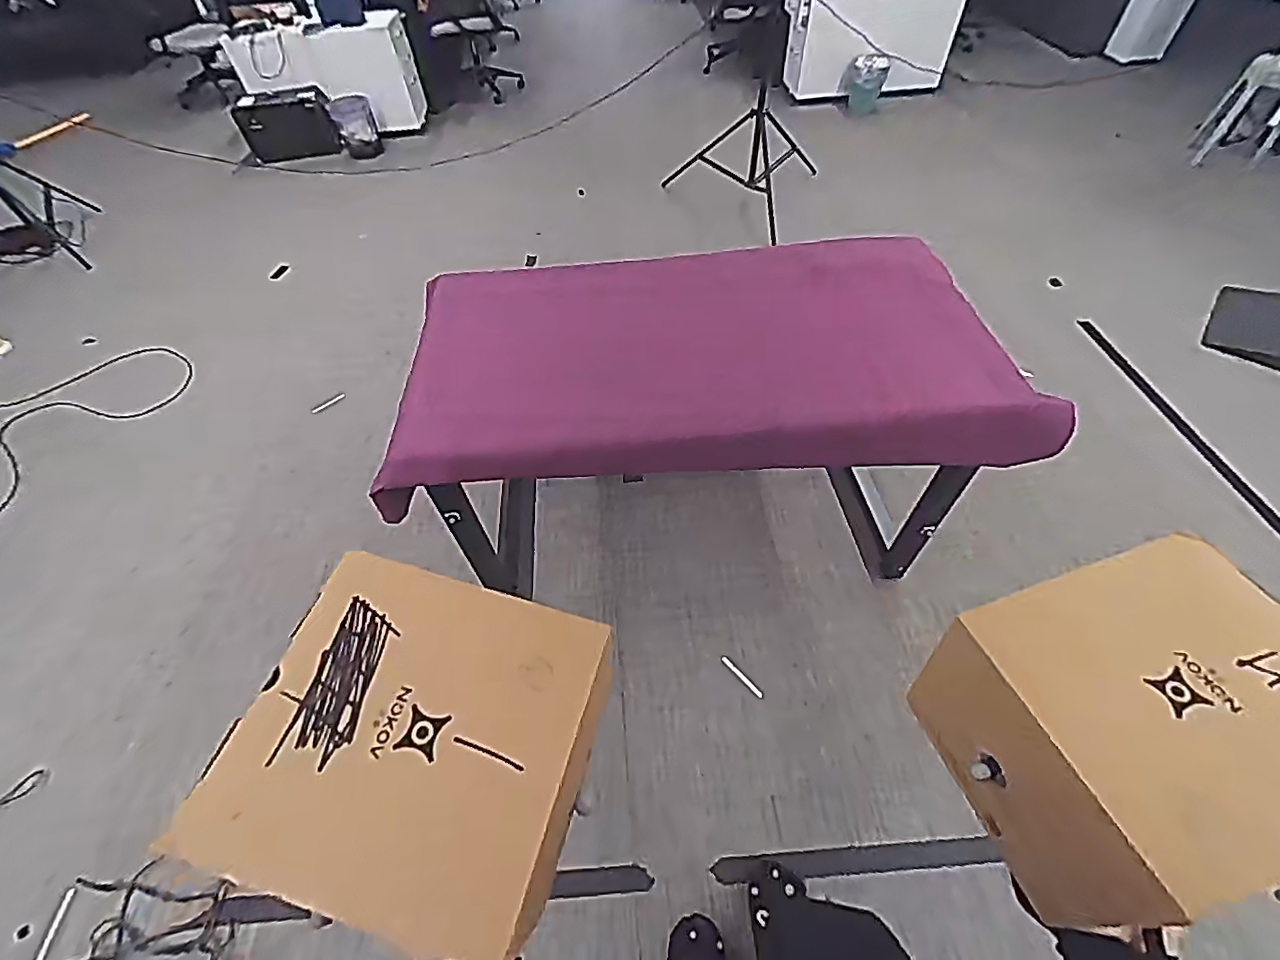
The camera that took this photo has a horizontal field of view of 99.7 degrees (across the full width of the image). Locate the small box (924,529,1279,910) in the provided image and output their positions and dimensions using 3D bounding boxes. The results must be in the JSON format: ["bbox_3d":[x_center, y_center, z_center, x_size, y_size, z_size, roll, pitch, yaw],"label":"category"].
[{"bbox_3d":[0.324,0.167,0.368,0.179,0.176,0.168,-18,50,-4],"label":"small box"}]

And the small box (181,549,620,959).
[{"bbox_3d":[-0.121,0.172,0.357,0.179,0.176,0.168,15,59,6],"label":"small box"}]
